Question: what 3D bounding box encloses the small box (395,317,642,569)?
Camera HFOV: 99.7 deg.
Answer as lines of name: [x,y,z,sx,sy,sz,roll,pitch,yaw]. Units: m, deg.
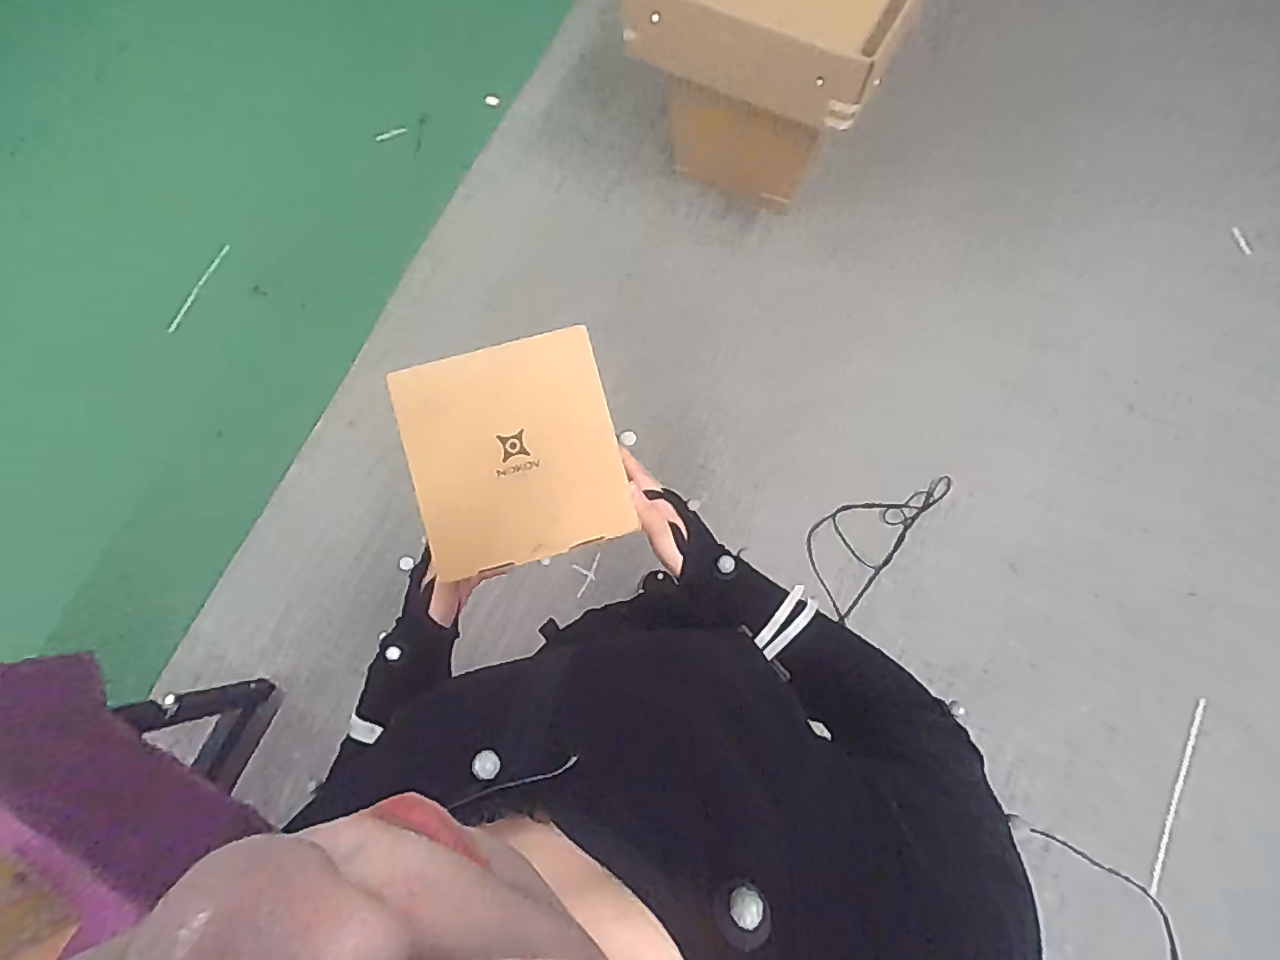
small box: [-0.101,-0.027,0.512,0.168,0.176,0.179,-15,88,-3]
